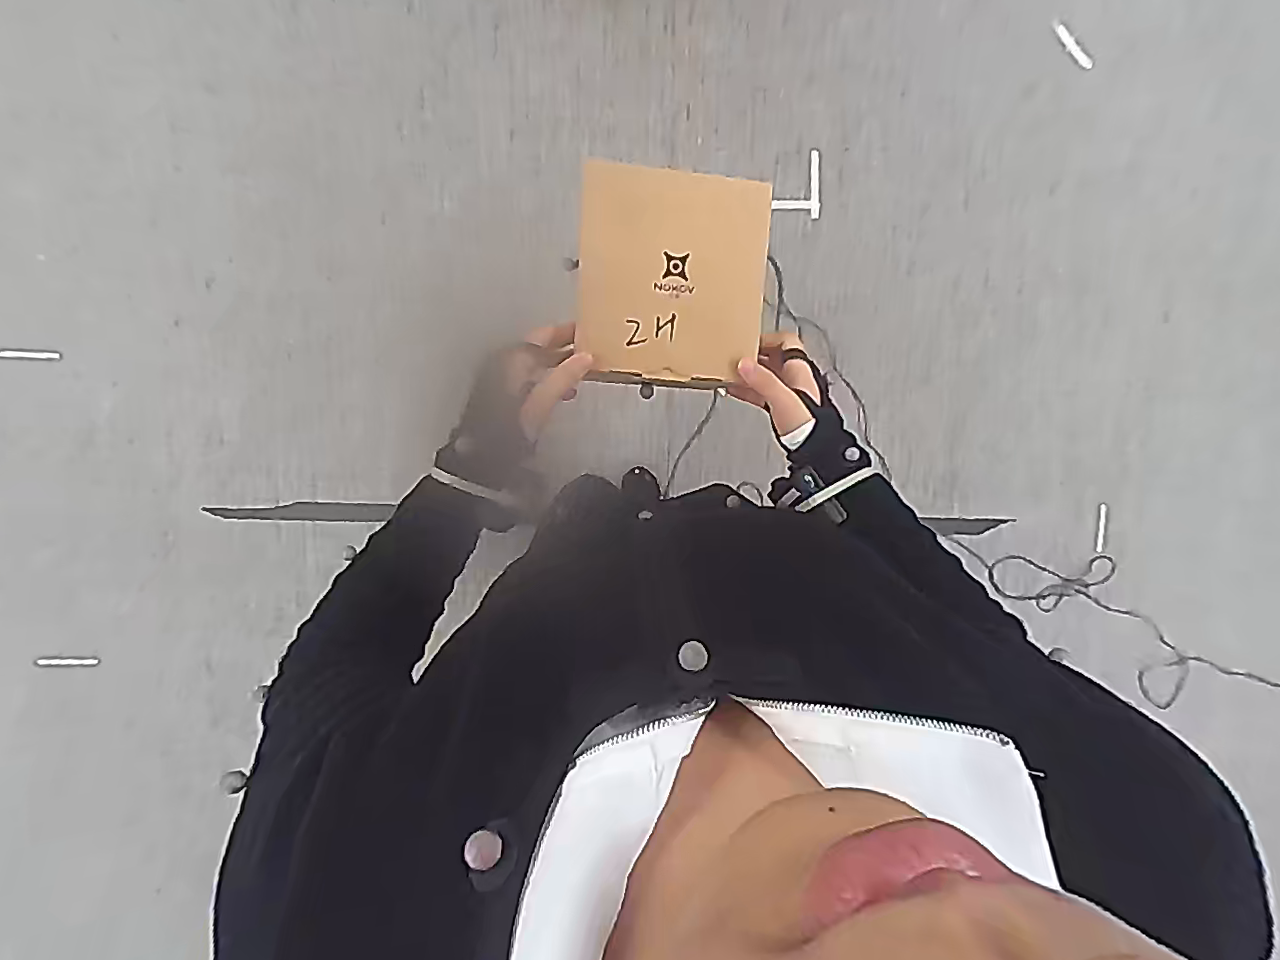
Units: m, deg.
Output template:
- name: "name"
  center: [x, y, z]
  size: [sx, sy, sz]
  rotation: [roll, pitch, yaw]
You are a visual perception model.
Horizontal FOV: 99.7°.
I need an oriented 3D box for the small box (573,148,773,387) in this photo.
- name: "small box"
  center: [0.020, -0.192, 0.543]
  size: [0.168, 0.176, 0.179]
  rotation: [3, 96, -7]
